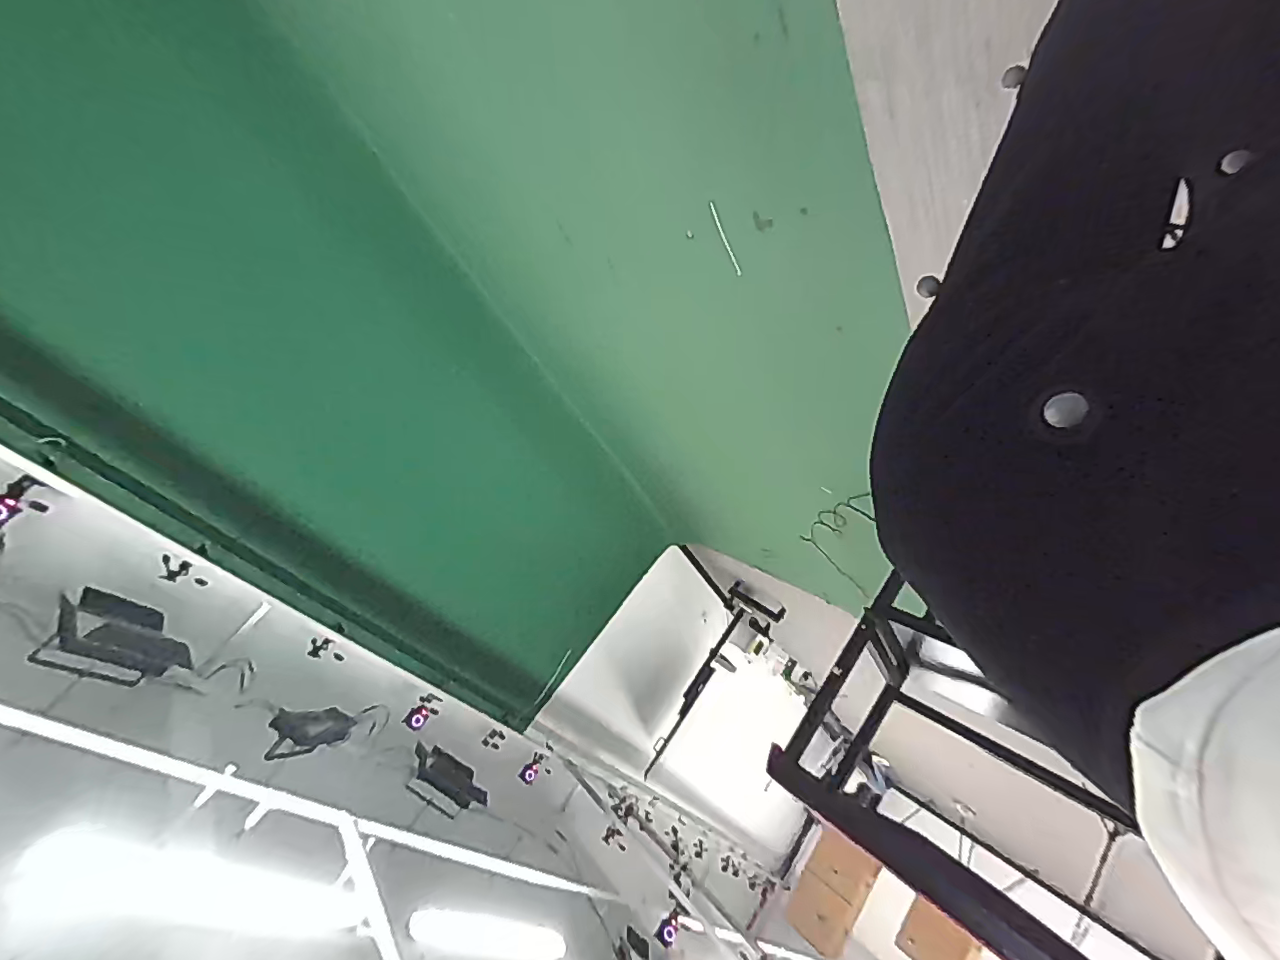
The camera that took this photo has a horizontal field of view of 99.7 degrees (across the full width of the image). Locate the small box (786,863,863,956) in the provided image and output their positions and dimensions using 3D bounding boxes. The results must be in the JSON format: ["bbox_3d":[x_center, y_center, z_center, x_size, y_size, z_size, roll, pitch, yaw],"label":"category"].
[{"bbox_3d":[0.618,1.418,1.789,0.179,0.176,0.168,19,154,45],"label":"small box"}]

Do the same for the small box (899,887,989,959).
[{"bbox_3d":[0.911,1.367,1.609,0.179,0.176,0.168,20,156,49],"label":"small box"}]

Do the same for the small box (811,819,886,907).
[{"bbox_3d":[0.715,1.295,1.835,0.179,0.176,0.168,22,157,45],"label":"small box"}]
